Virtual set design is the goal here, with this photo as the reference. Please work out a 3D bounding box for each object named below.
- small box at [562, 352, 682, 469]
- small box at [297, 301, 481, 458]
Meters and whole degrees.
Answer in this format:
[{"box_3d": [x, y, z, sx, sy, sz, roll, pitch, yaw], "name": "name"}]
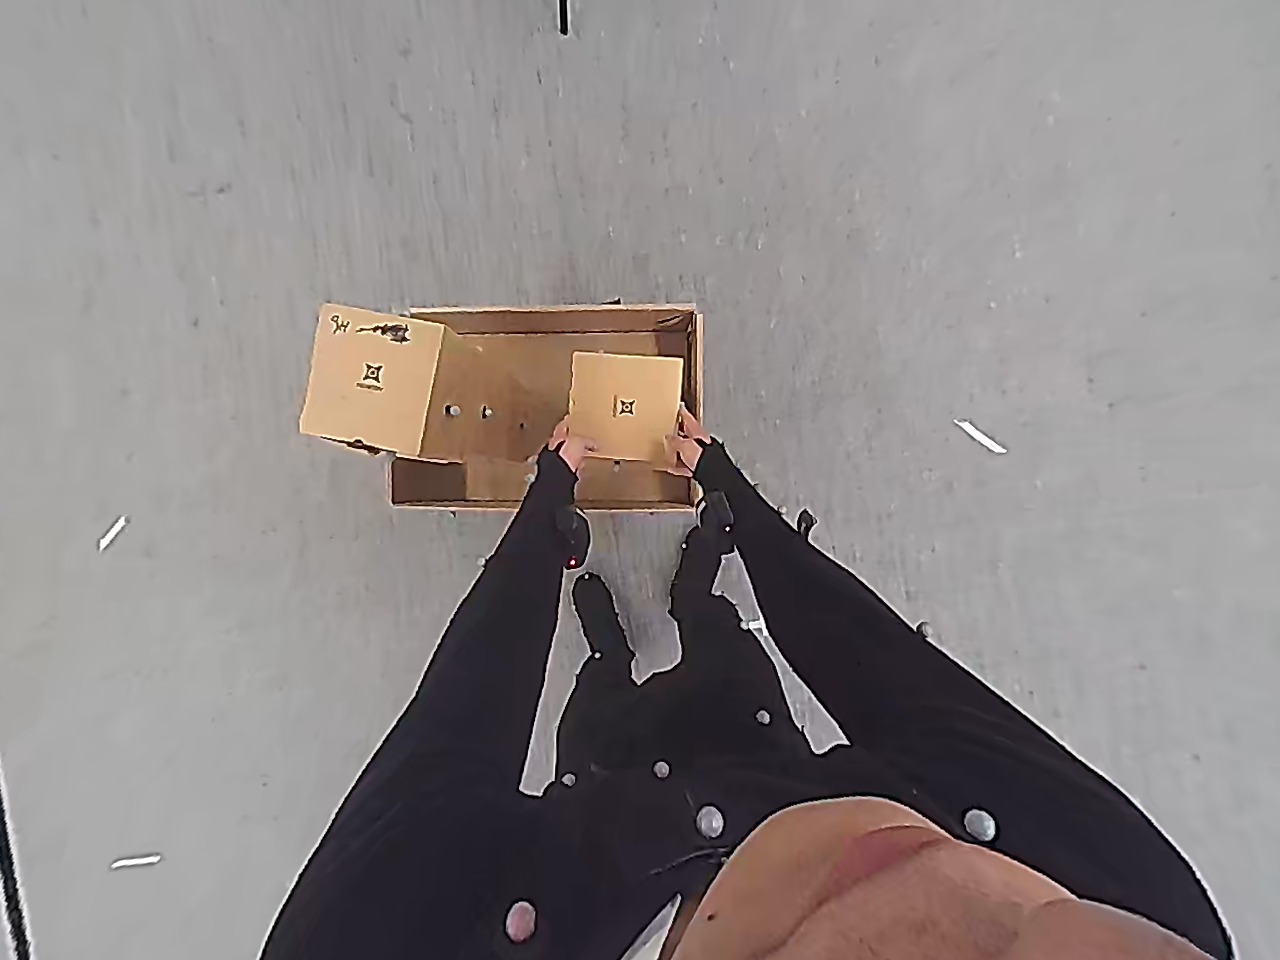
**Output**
[{"box_3d": [-0.025, -0.109, 0.914, 0.179, 0.176, 0.168, 4, 87, 3], "name": "small box"}, {"box_3d": [-0.343, -0.130, 0.771, 0.168, 0.176, 0.179, 12, 91, 2], "name": "small box"}]
